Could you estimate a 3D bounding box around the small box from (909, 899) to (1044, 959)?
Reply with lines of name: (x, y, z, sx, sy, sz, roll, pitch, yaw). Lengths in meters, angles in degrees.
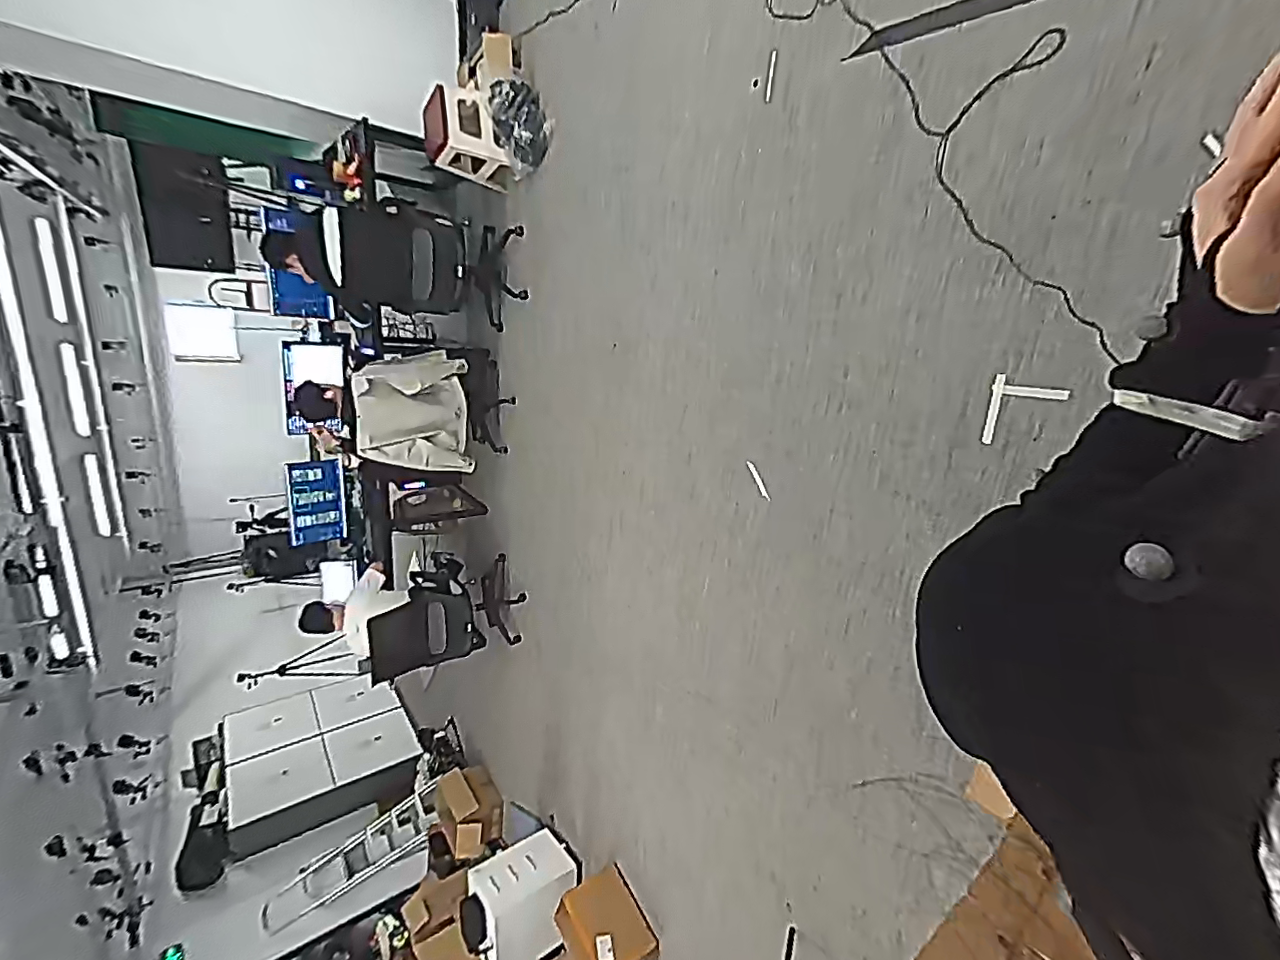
small box: (0.423, 0.685, 0.663, 0.168, 0.176, 0.179, 23, 113, 48)

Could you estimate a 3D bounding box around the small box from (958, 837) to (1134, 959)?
small box: (0.553, 0.664, 0.763, 0.168, 0.176, 0.179, 25, 115, 48)
